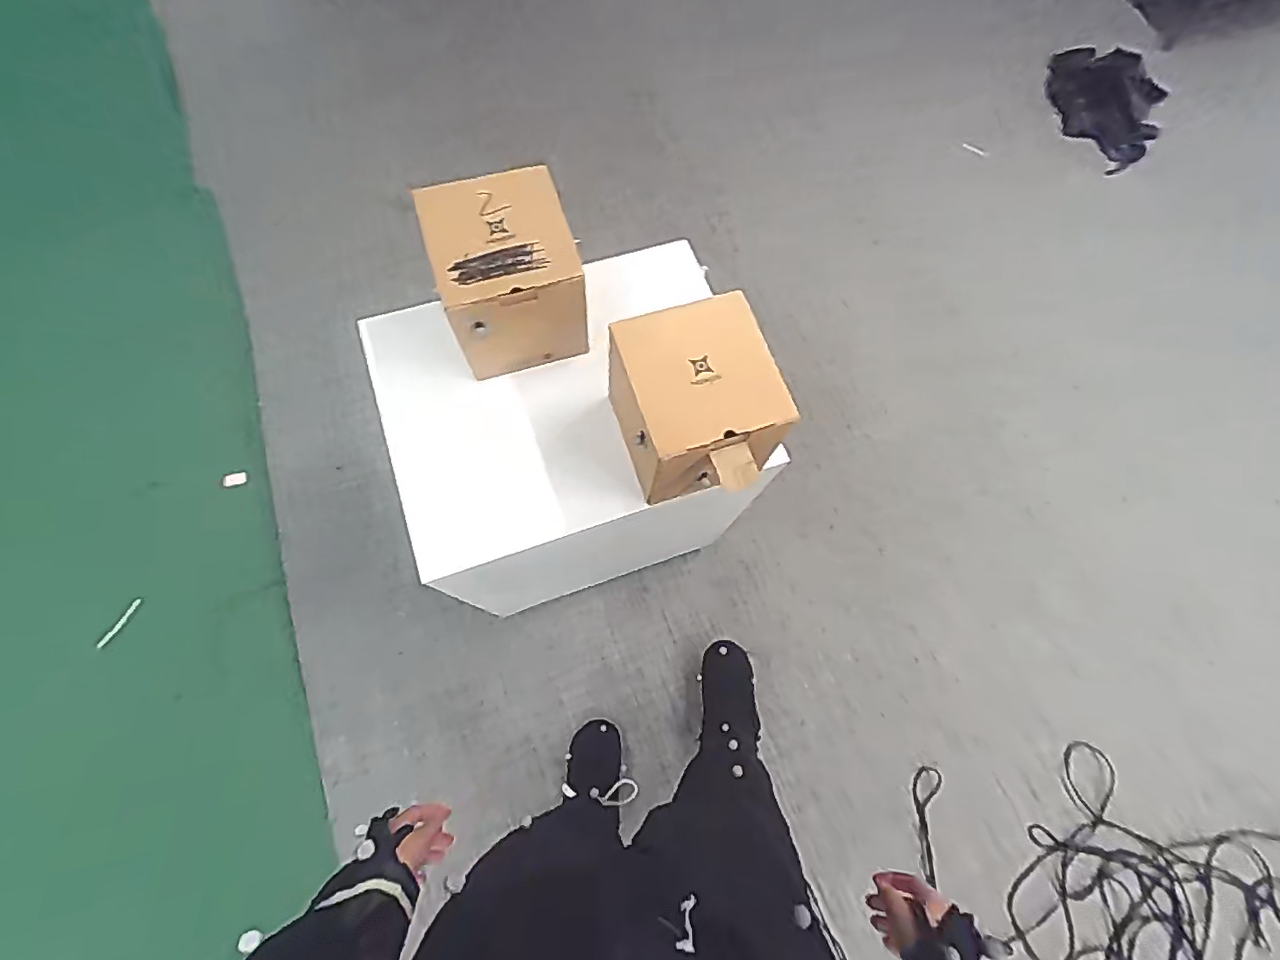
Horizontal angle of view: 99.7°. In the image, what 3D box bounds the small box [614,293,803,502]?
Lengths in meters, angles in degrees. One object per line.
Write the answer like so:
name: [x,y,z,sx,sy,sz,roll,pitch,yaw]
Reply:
small box: [0.068,-0.094,0.669,0.168,0.176,0.179,-17,73,-9]
